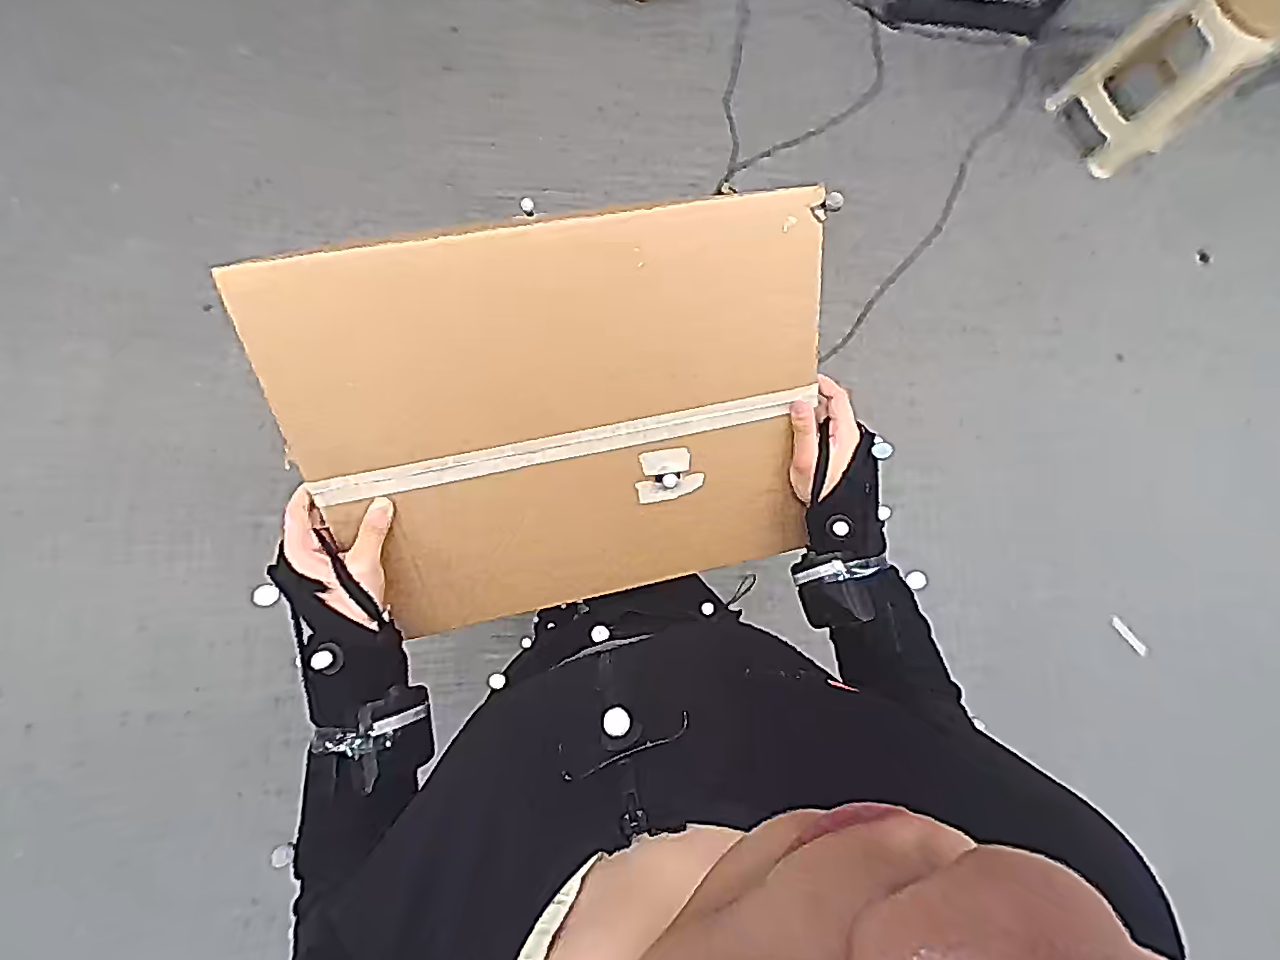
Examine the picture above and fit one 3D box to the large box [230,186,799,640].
[{"bbox_3d":[-0.091,-0.100,0.571,0.408,0.320,0.320,-14,120,-9],"label":"large box"}]
